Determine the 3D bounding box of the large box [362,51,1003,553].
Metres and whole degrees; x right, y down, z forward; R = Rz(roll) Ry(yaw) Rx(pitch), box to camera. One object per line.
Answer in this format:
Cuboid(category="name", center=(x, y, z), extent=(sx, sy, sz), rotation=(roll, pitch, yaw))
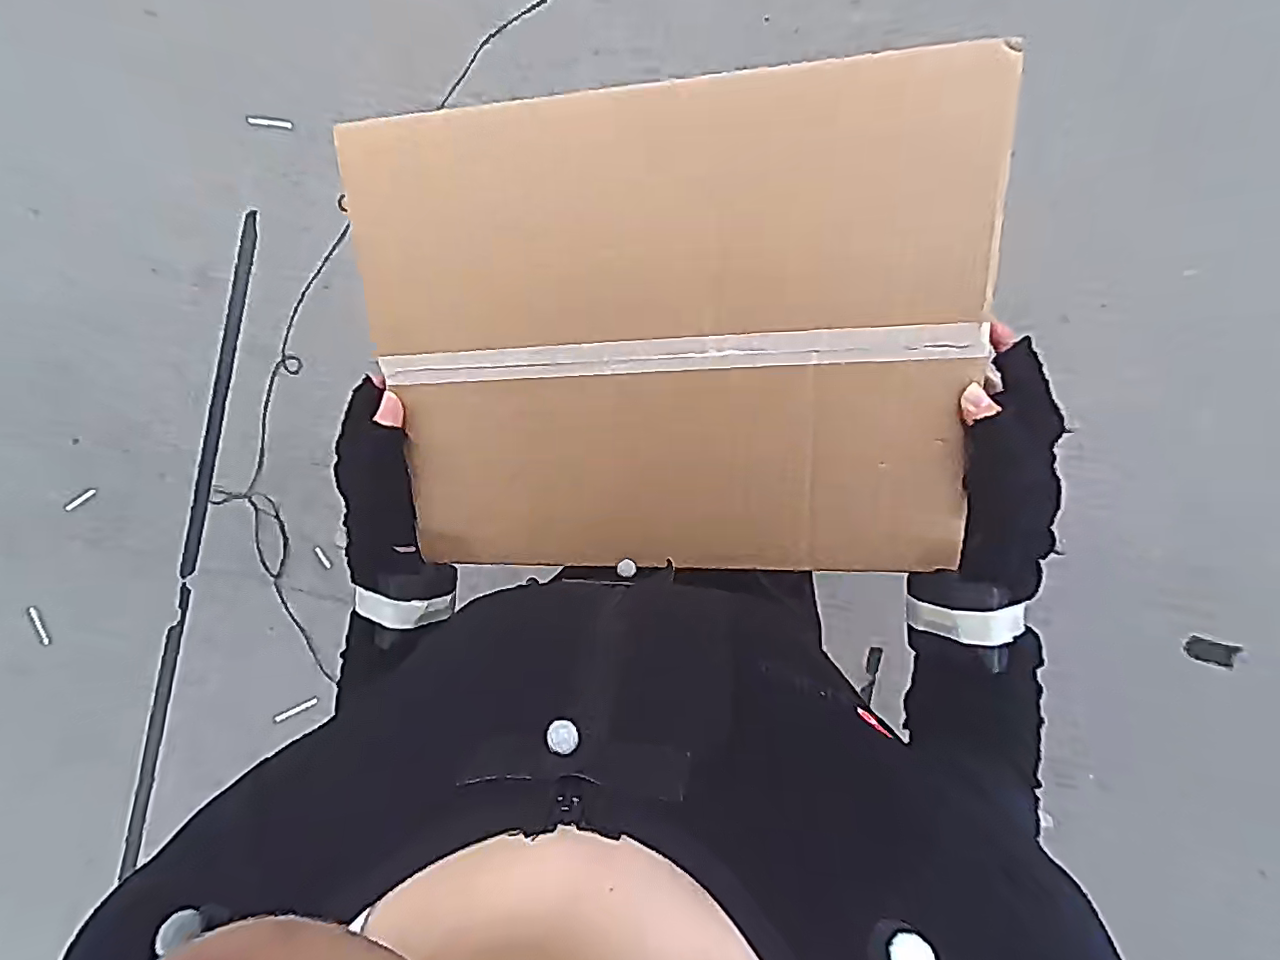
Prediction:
Cuboid(category="large box", center=(0.037, -0.135, 0.516), extent=(0.408, 0.320, 0.320), rotation=(0, 110, 9))
